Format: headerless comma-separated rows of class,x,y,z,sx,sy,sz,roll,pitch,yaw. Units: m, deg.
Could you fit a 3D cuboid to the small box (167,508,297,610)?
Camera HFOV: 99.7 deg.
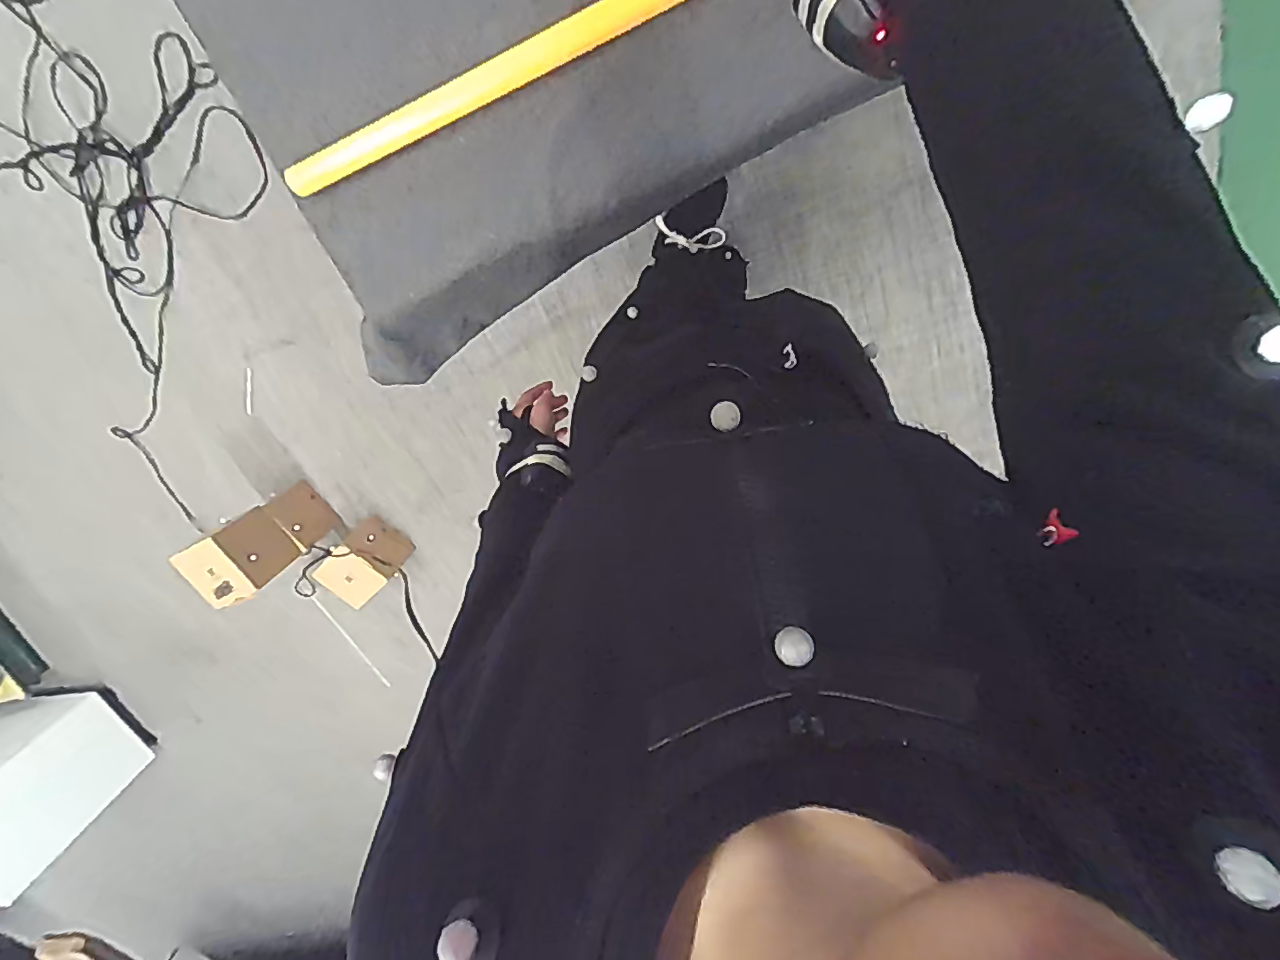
small box,-1.058,0.204,1.421,0.168,0.176,0.179,-23,111,17

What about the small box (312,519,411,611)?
small box,-0.814,0.246,1.602,0.179,0.176,0.168,-39,106,23

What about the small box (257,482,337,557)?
small box,-1.030,0.136,1.569,0.179,0.176,0.168,-28,110,19
